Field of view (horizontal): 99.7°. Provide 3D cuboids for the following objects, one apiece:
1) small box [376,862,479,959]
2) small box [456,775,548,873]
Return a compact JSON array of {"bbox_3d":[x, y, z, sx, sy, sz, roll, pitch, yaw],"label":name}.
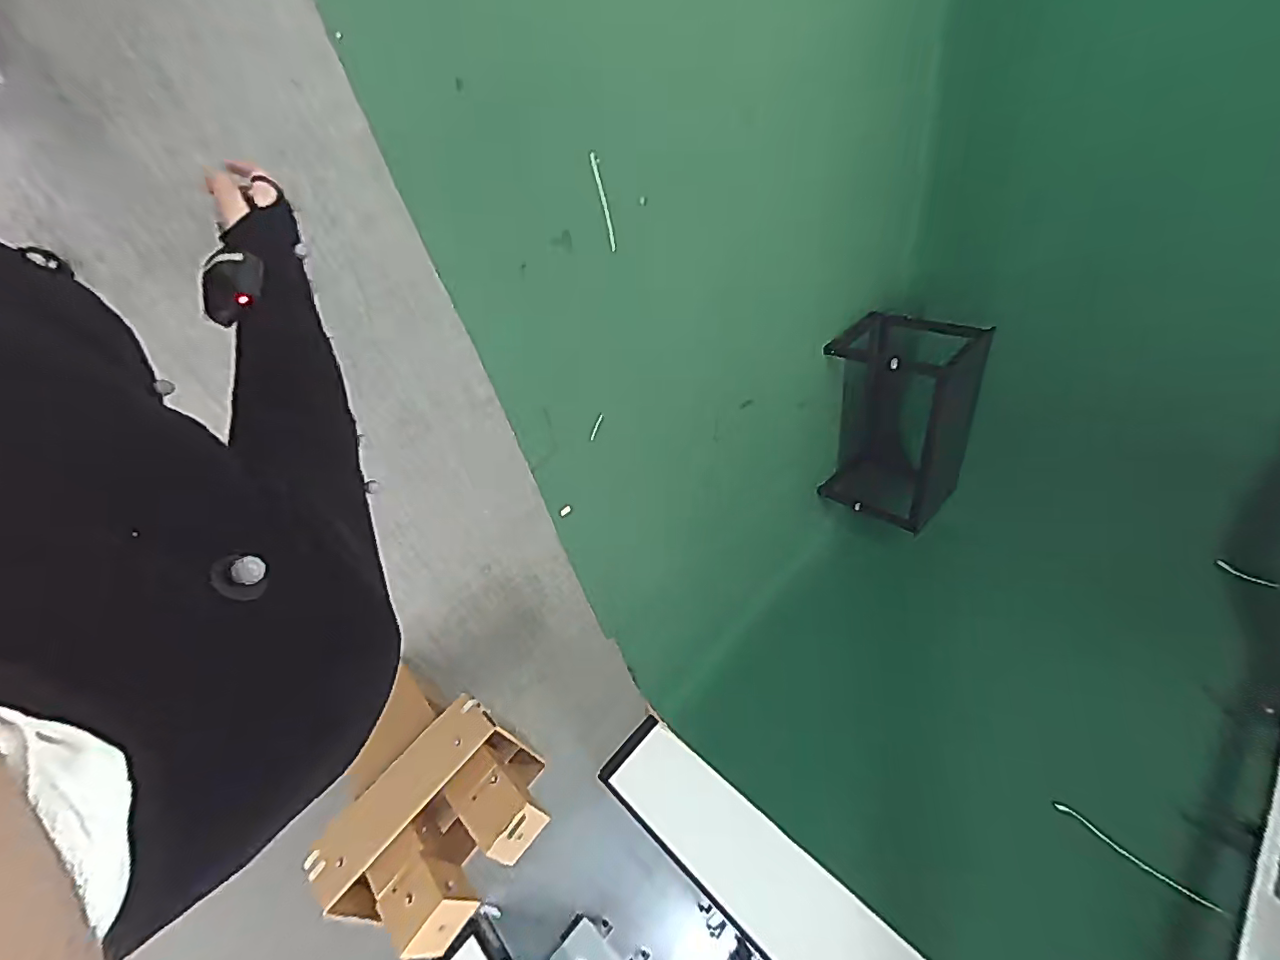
[{"bbox_3d":[-0.597,1.209,1.511,0.168,0.176,0.179,-49,138,-16],"label":"small box"},{"bbox_3d":[-0.414,1.021,1.615,0.168,0.176,0.179,-45,138,-23],"label":"small box"}]
